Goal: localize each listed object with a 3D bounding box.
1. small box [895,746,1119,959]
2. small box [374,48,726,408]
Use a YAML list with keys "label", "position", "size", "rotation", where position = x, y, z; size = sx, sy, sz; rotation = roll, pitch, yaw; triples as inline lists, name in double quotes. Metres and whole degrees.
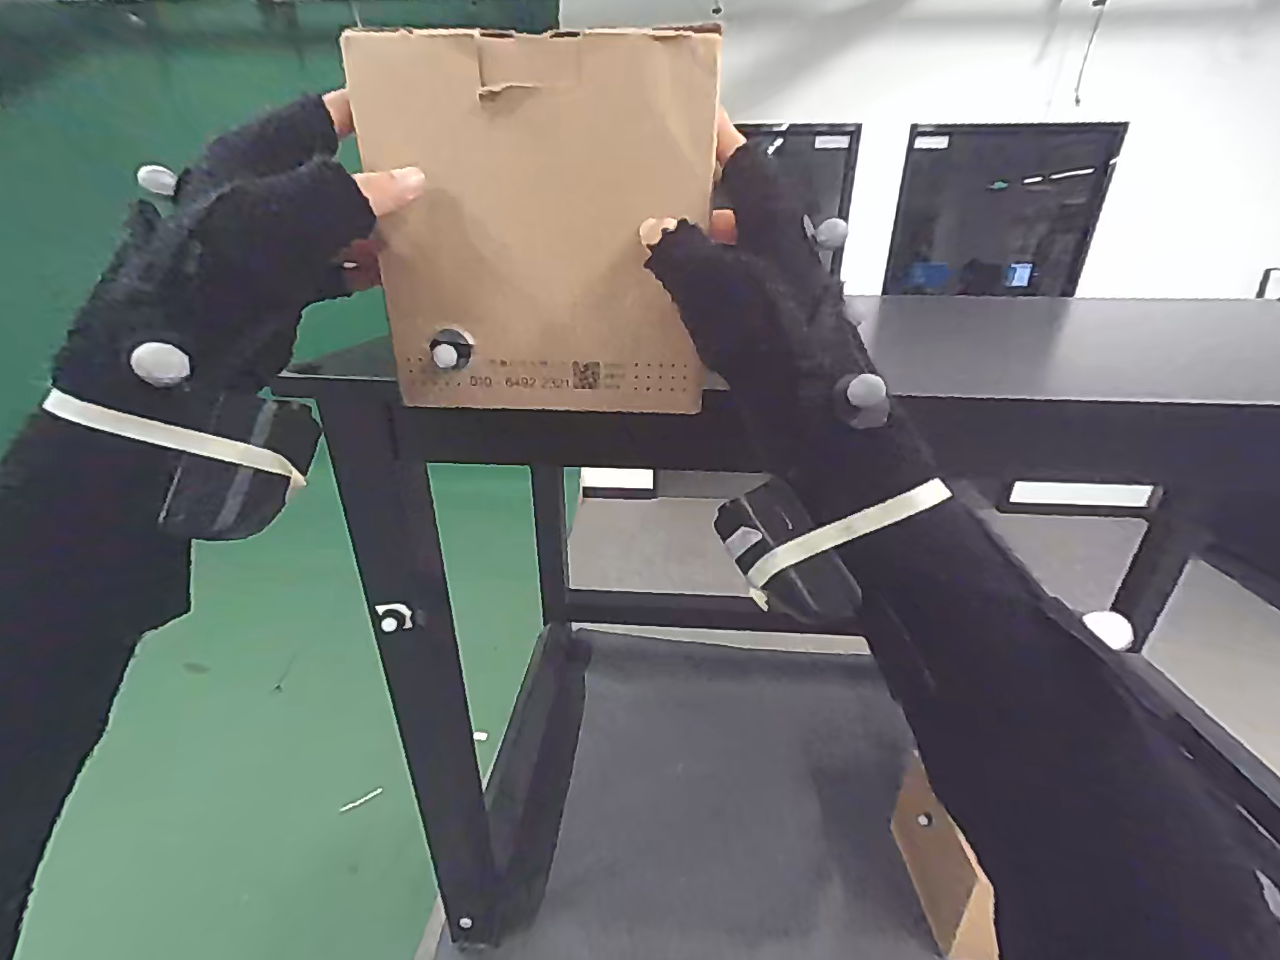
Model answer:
- label: "small box"
  position: [0.464, 0.490, 0.722]
  size: [0.168, 0.176, 0.179]
  rotation: [1, 23, 2]
- label: "small box"
  position: [-0.037, -0.148, 0.350]
  size: [0.168, 0.176, 0.179]
  rotation: [2, 23, 2]
